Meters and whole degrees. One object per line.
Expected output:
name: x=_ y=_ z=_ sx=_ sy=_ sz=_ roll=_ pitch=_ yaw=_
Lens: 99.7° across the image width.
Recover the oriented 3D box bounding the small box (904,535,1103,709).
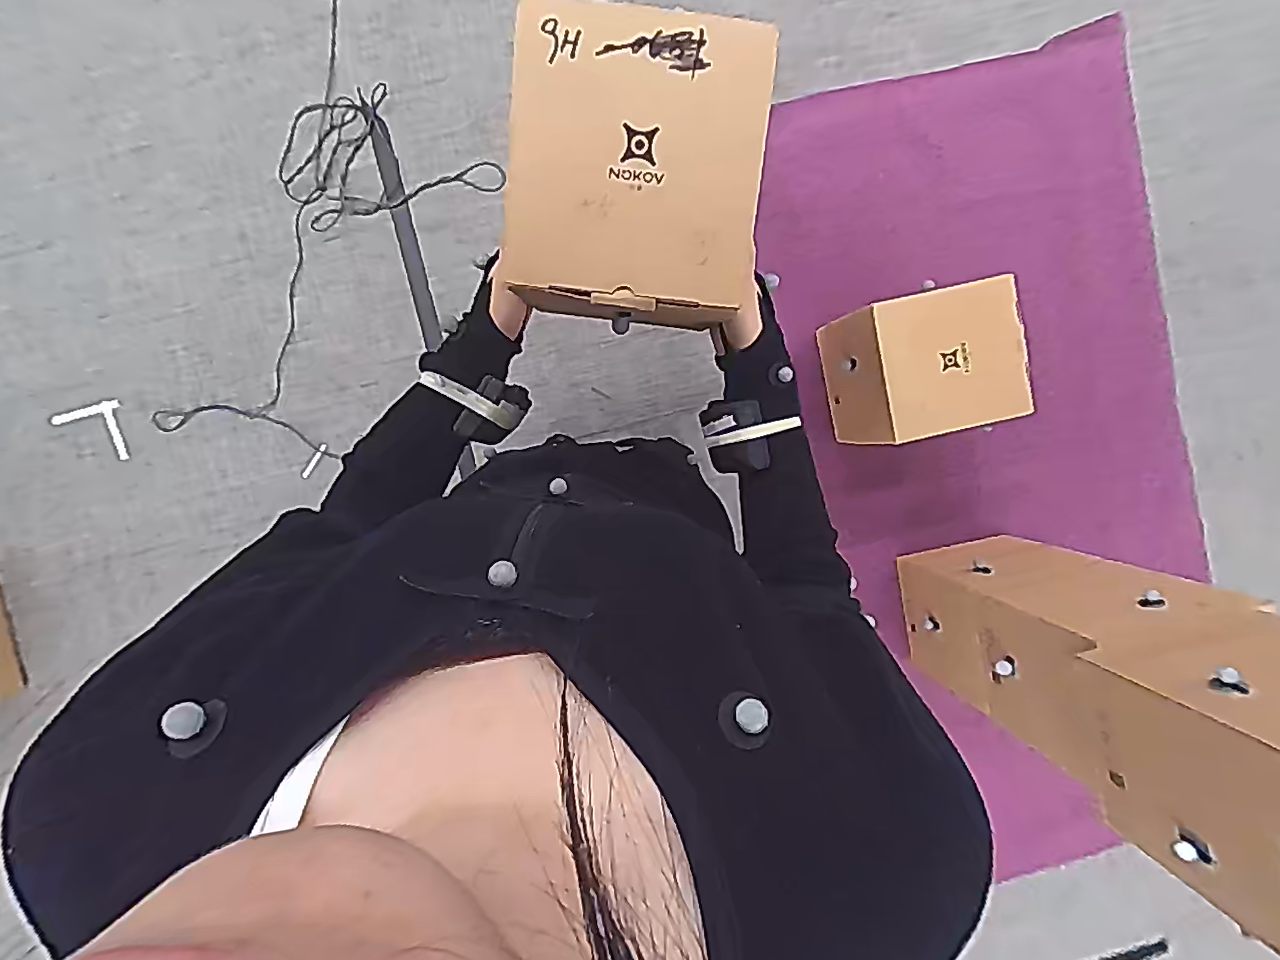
small box: x=0.487 y=0.181 z=0.739 sx=0.179 sy=0.176 sz=0.168 roll=-11 pitch=95 yaw=-4

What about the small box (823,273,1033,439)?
small box: x=0.357 y=-0.149 z=0.706 sx=0.179 sy=0.176 sz=0.168 roll=-13 pitch=95 yaw=-4

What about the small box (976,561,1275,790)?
small box: x=0.503 y=0.195 z=0.577 sx=0.179 sy=0.176 sz=0.168 roll=-11 pitch=95 yaw=-3

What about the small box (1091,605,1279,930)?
small box: x=0.494 y=0.215 z=0.414 sx=0.179 sy=0.176 sz=0.168 roll=-15 pitch=96 yaw=-3

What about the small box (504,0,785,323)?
small box: x=-0.003 y=-0.224 z=0.425 sx=0.168 sy=0.176 sz=0.179 roll=6 pitch=102 yaw=-4
